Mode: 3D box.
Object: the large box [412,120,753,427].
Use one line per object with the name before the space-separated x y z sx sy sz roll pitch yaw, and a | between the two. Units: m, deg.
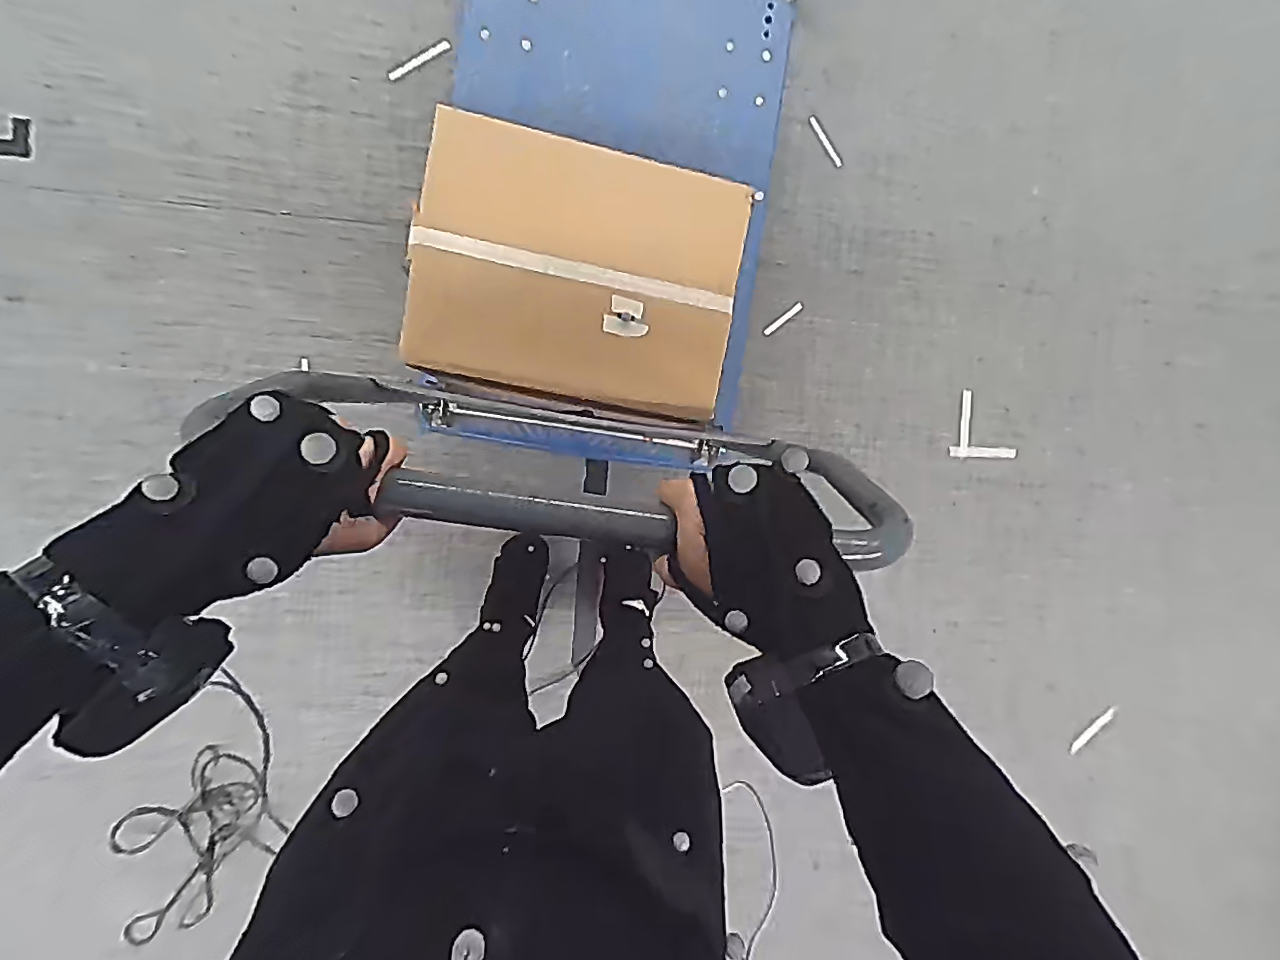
large box | -0.090 -0.269 0.838 0.408 0.320 0.320 10 93 -9
